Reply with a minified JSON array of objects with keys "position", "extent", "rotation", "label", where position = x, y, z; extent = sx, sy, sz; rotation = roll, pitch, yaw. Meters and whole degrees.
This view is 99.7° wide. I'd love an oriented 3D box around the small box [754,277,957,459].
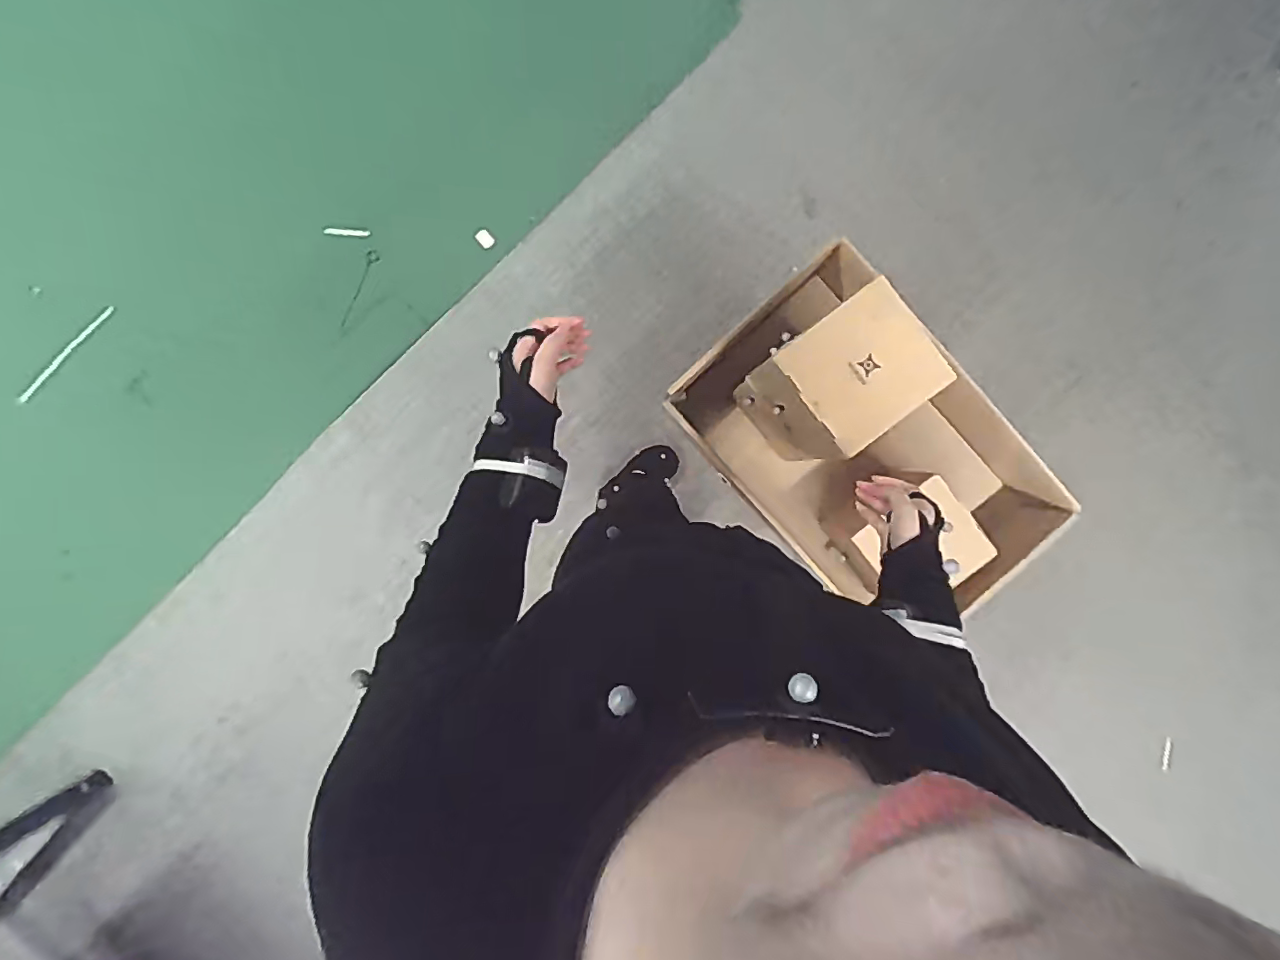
[{"position":[0.286,-0.146,0.762],"extent":[0.179,0.176,0.168],"rotation":[-37,92,2],"label":"small box"}]
